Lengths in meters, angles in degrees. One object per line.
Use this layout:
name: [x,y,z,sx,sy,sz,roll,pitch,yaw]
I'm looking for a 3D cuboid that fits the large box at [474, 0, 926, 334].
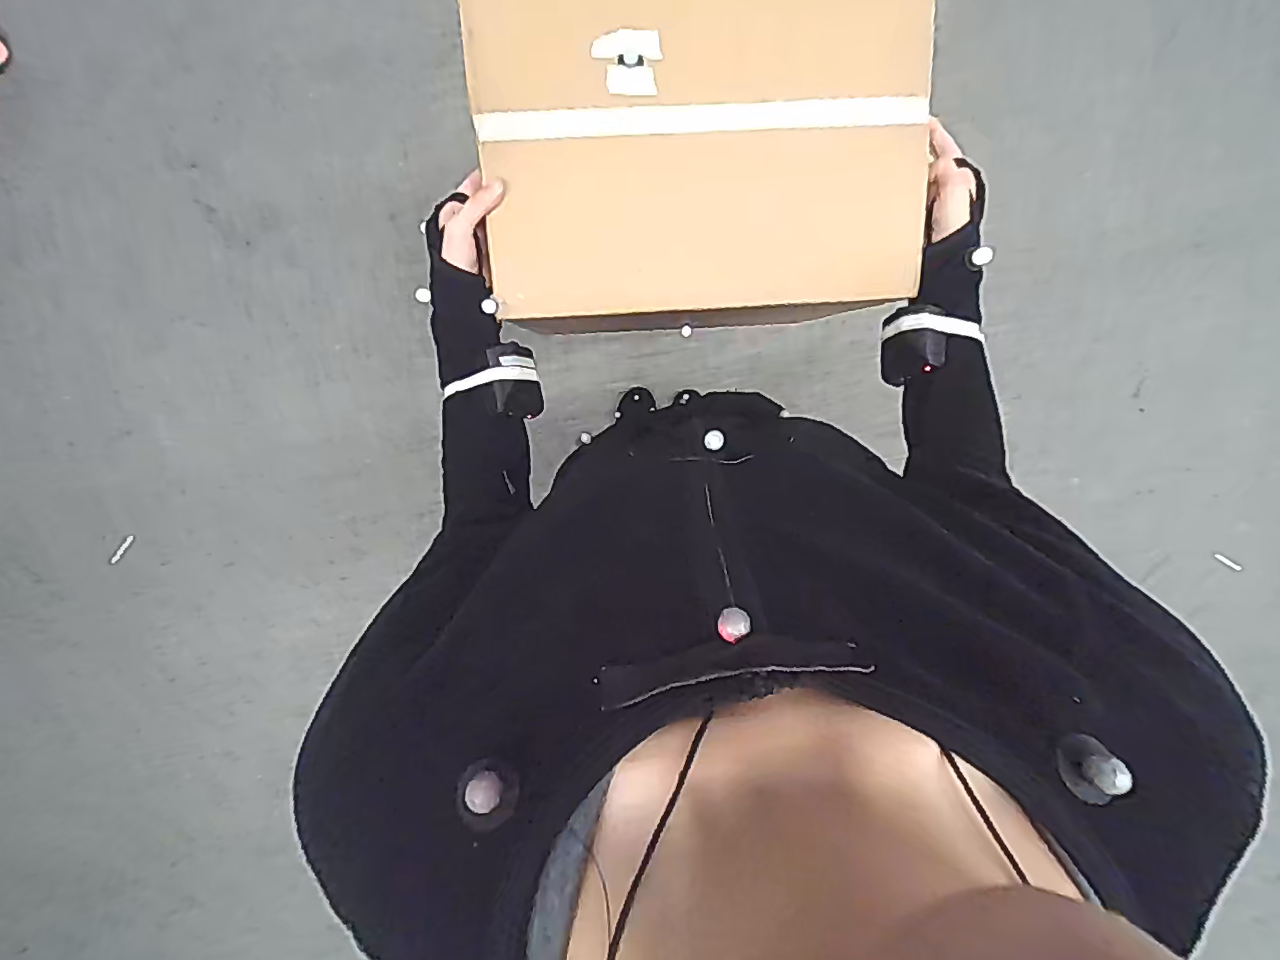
large box: [0.057,-0.349,0.639,0.408,0.320,0.320,-4,101,-2]
